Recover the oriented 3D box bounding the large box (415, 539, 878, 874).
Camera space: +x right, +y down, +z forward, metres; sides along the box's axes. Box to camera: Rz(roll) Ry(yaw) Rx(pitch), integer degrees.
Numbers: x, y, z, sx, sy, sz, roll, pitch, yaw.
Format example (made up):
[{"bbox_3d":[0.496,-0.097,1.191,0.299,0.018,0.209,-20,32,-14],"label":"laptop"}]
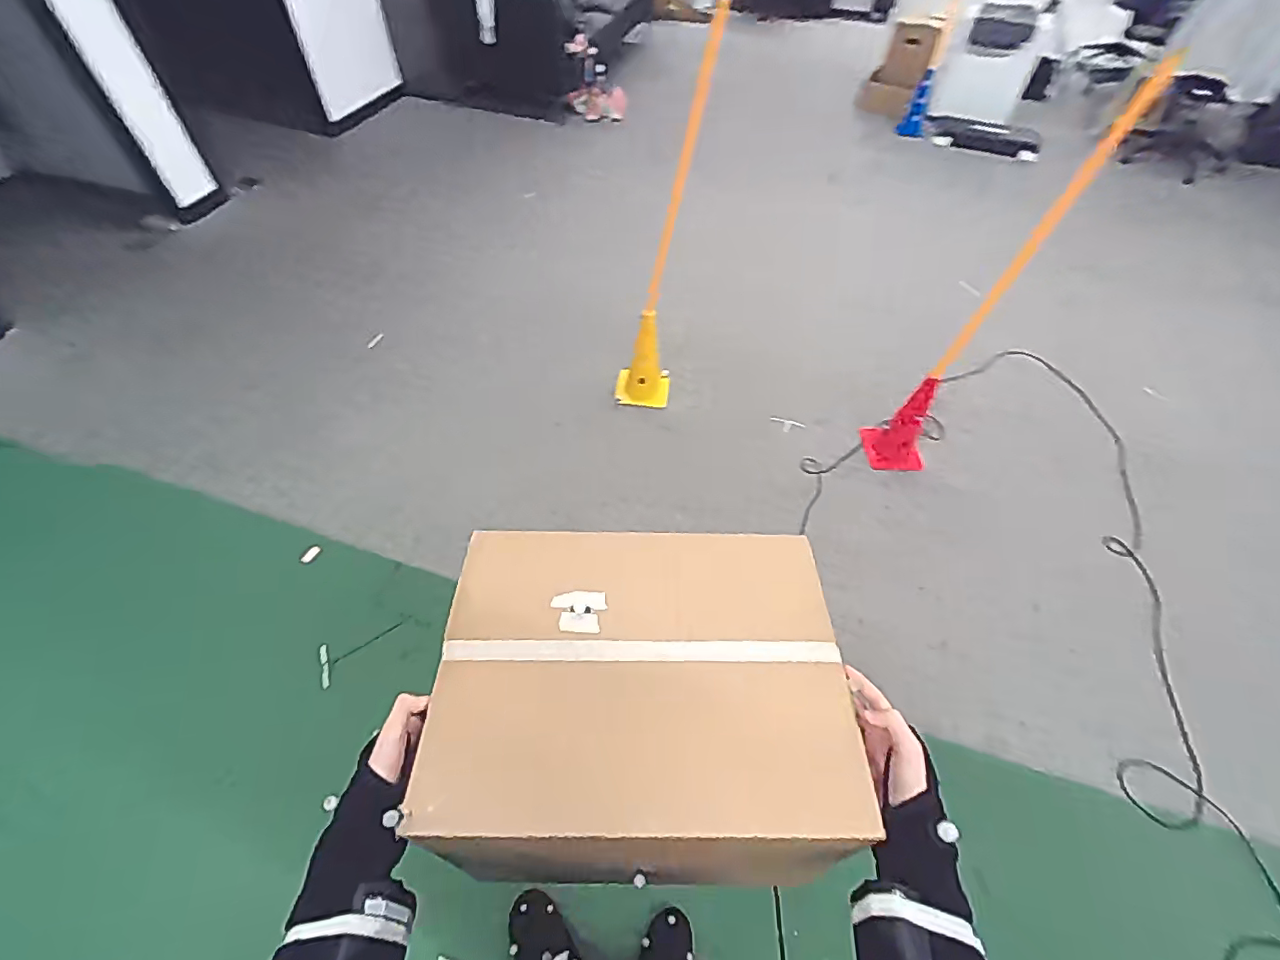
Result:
[{"bbox_3d":[0.008,0.285,0.668,0.408,0.320,0.320,1,48,0],"label":"large box"}]
